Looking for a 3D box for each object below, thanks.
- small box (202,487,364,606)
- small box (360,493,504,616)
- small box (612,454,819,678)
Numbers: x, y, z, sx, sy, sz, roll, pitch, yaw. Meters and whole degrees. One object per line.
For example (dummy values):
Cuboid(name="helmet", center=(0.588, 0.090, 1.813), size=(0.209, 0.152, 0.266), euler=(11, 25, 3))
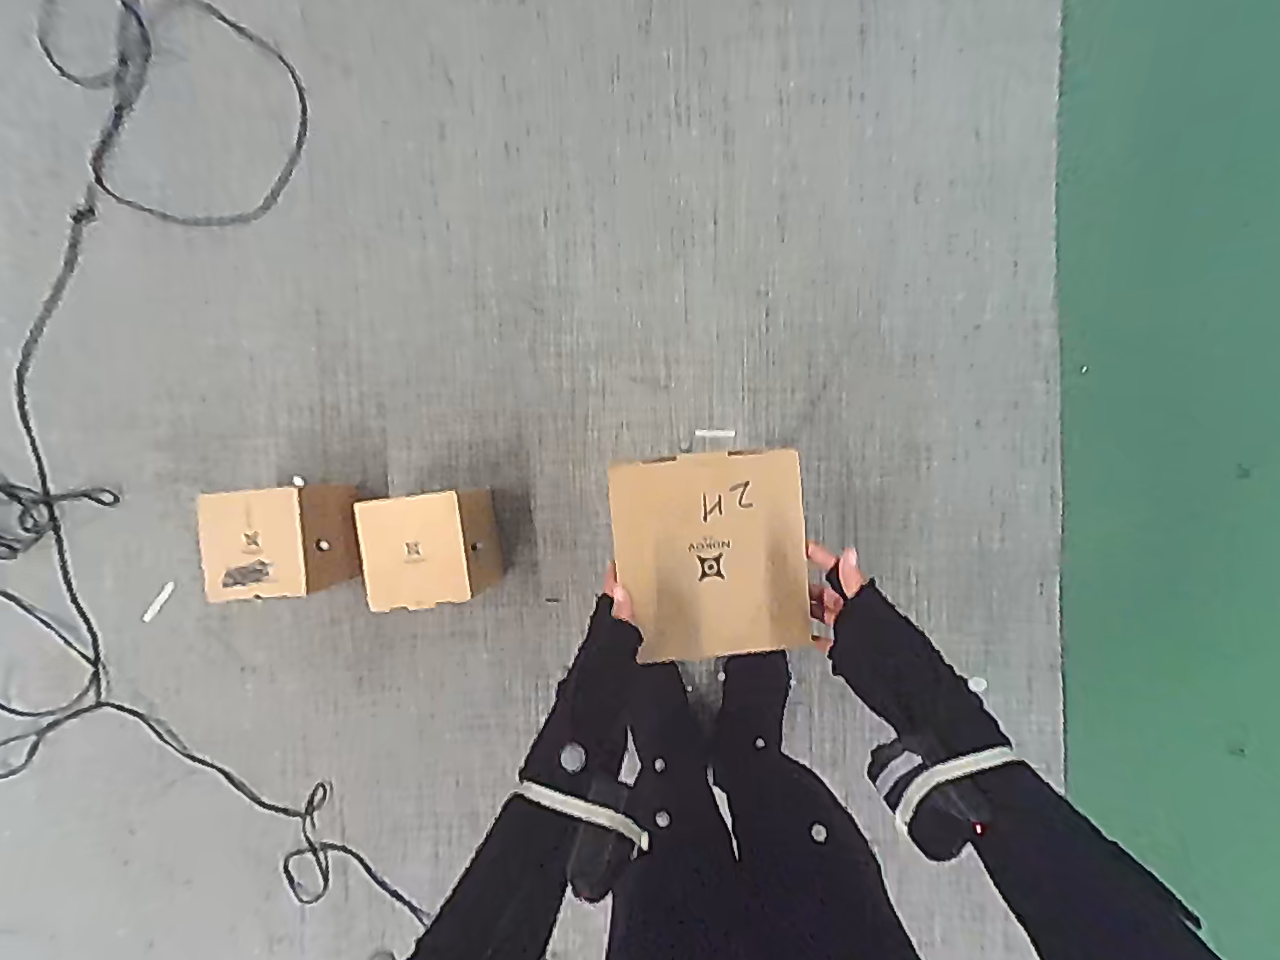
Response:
Cuboid(name="small box", center=(-0.597, 0.106, 0.925), size=(0.168, 0.176, 0.179), euler=(-4, 90, 2))
Cuboid(name="small box", center=(-0.342, 0.116, 0.917), size=(0.168, 0.176, 0.179), euler=(-7, 92, 3))
Cuboid(name="small box", center=(0.062, 0.069, 0.528), size=(0.168, 0.176, 0.179), euler=(-5, 94, -3))
